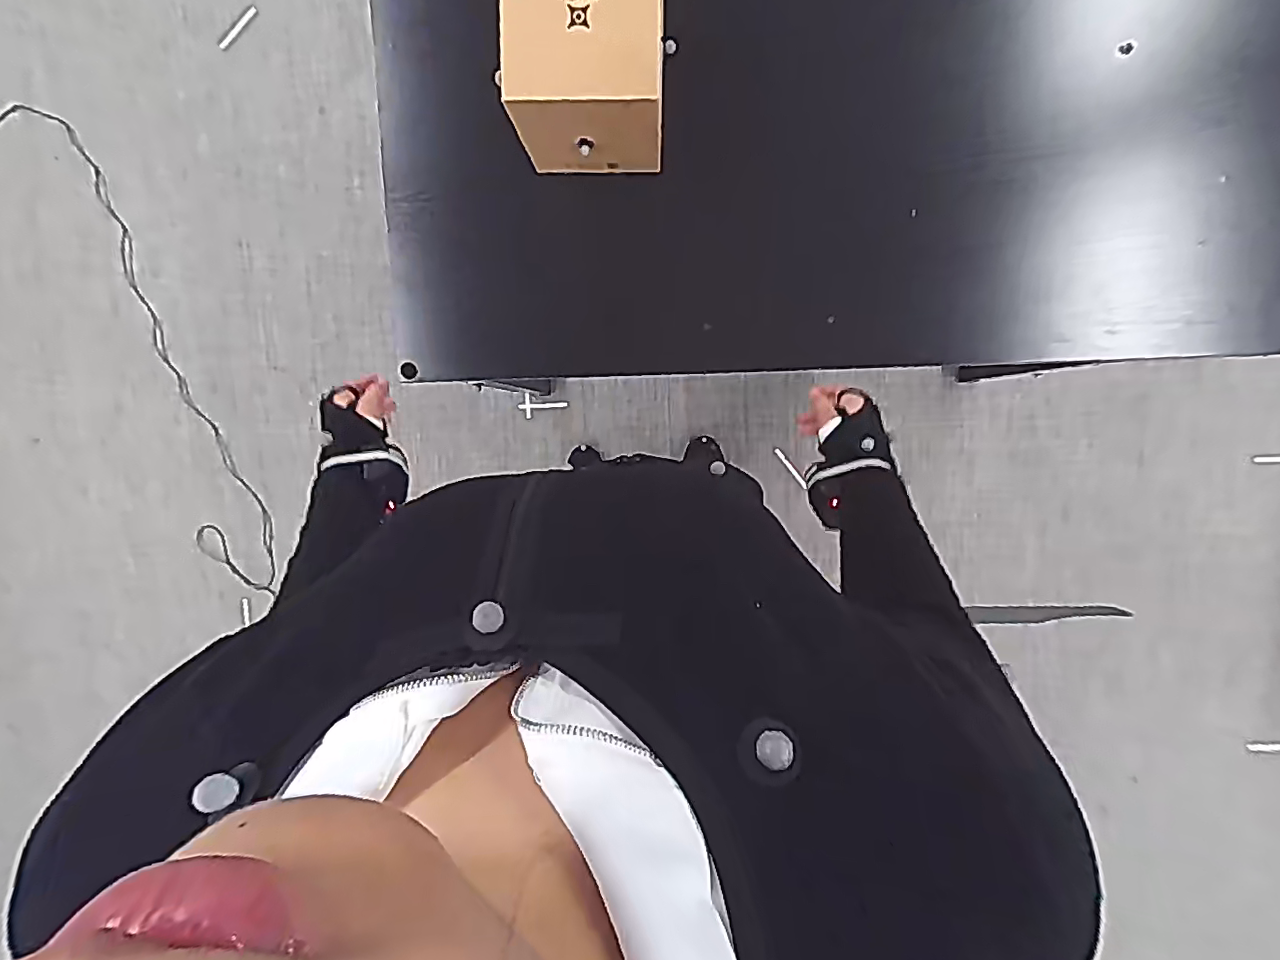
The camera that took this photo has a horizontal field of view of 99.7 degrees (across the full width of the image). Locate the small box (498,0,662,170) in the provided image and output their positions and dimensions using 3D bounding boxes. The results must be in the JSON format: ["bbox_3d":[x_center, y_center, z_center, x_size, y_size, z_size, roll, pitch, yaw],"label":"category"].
[{"bbox_3d":[-0.060,-0.485,0.630,0.168,0.176,0.179,1,95,2],"label":"small box"}]
